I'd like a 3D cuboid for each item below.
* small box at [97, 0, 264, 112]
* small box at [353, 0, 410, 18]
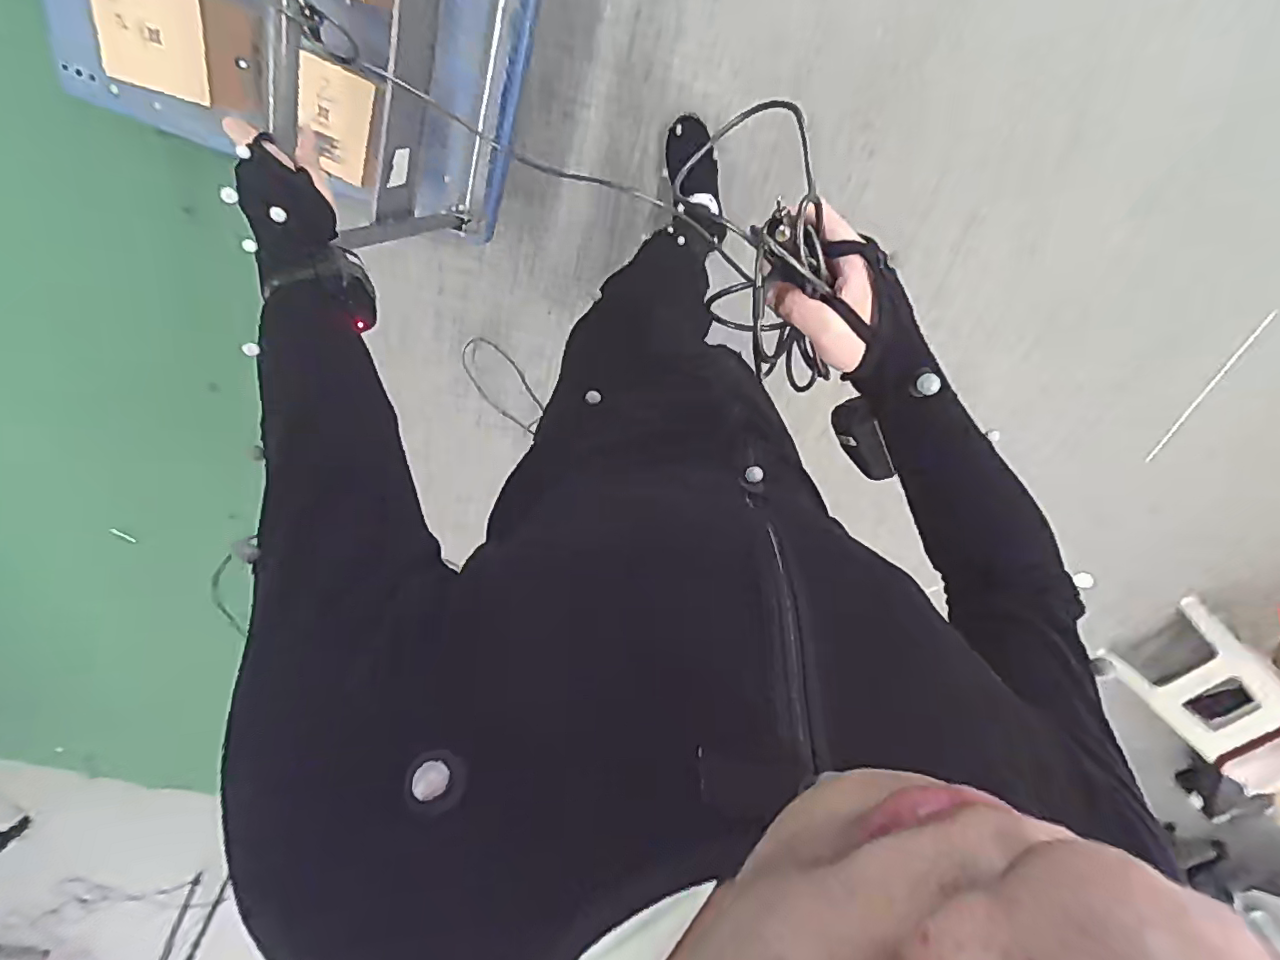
[{"bbox_3d":[-0.814,-0.787,0.978,0.179,0.176,0.168,14,120,-7],"label":"small box"},{"bbox_3d":[-0.492,-0.911,0.897,0.179,0.176,0.168,18,120,-11],"label":"small box"}]
